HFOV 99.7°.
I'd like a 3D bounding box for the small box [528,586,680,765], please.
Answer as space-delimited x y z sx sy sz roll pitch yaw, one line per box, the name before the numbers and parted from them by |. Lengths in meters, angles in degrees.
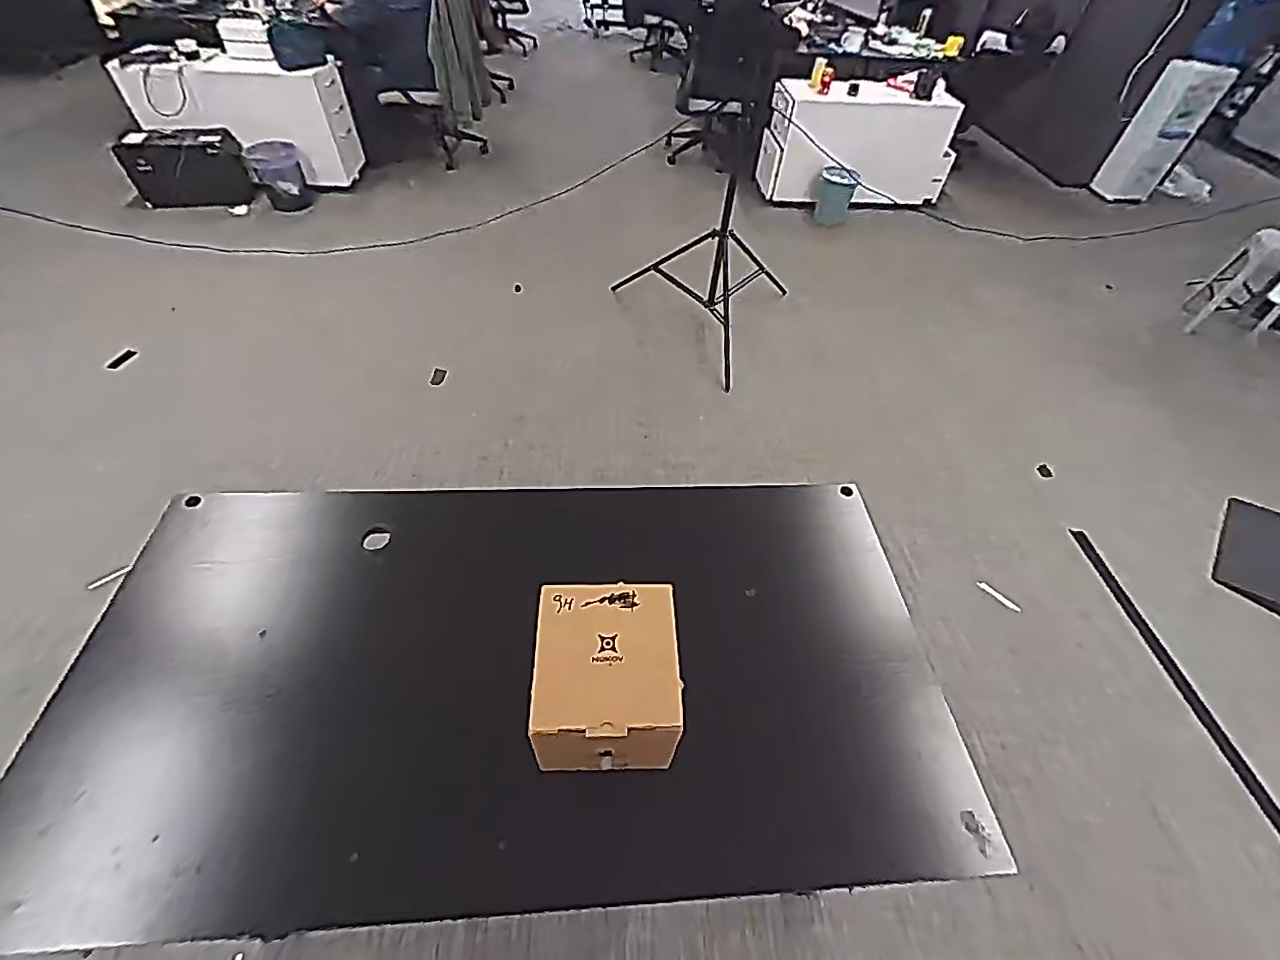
small box | -0.042 0.252 0.685 0.168 0.176 0.179 0 50 -3
